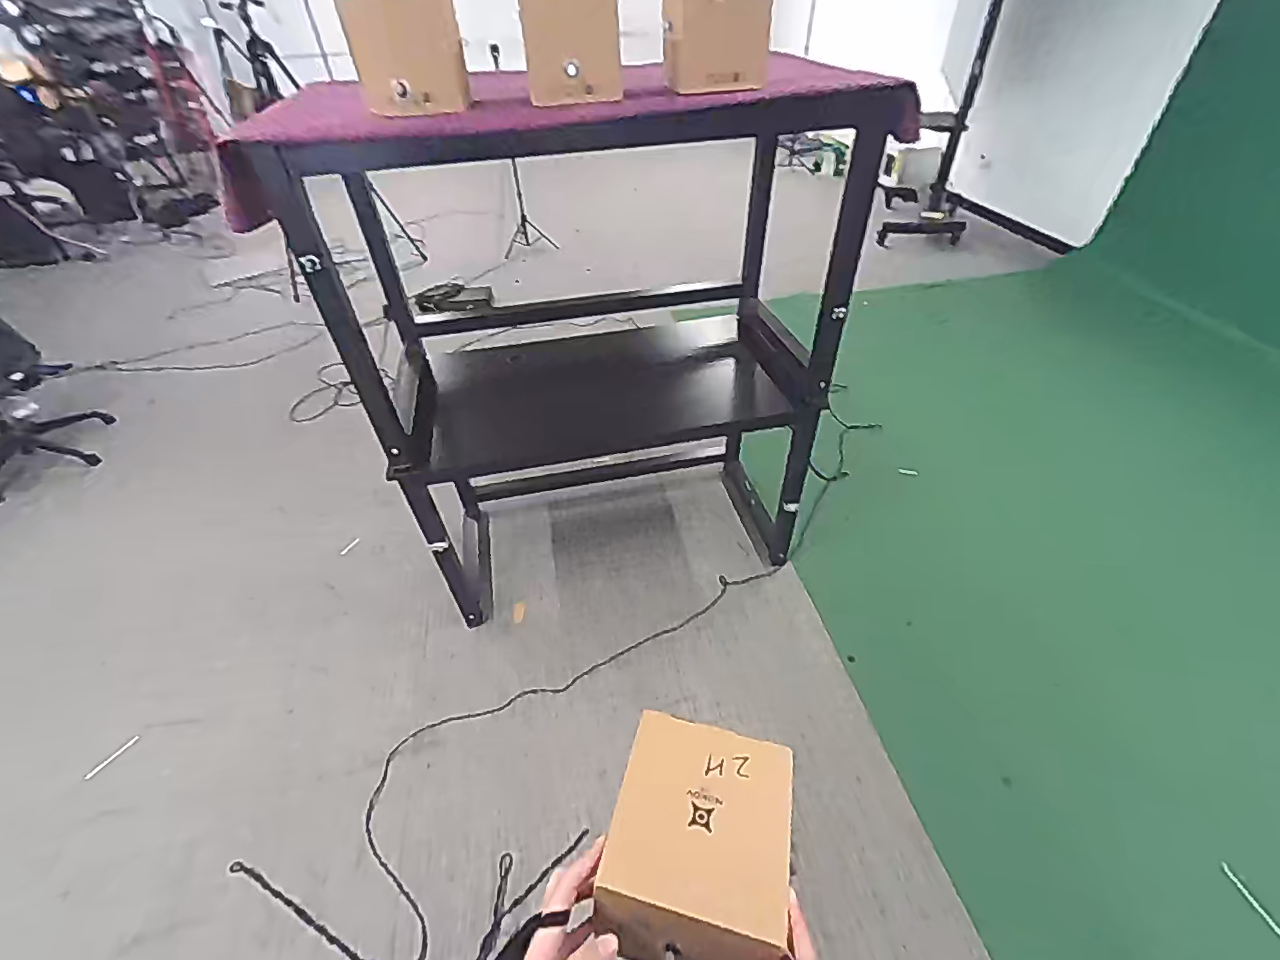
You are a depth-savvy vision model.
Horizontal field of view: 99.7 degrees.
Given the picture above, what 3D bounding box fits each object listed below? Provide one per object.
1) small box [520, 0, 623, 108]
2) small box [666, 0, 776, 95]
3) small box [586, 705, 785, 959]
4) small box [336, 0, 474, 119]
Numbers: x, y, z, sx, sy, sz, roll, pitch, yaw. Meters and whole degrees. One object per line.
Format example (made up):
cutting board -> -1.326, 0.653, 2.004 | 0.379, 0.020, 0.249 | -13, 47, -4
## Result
small box -> -0.125, -0.786, 0.978 | 0.168, 0.176, 0.179 | -8, 43, -5
small box -> 0.142, -0.835, 1.016 | 0.168, 0.176, 0.179 | -9, 41, -5
small box -> 0.050, 0.379, 0.568 | 0.168, 0.176, 0.179 | 11, 35, 10
small box -> -0.397, -0.745, 0.947 | 0.168, 0.176, 0.179 | -8, 43, -4
